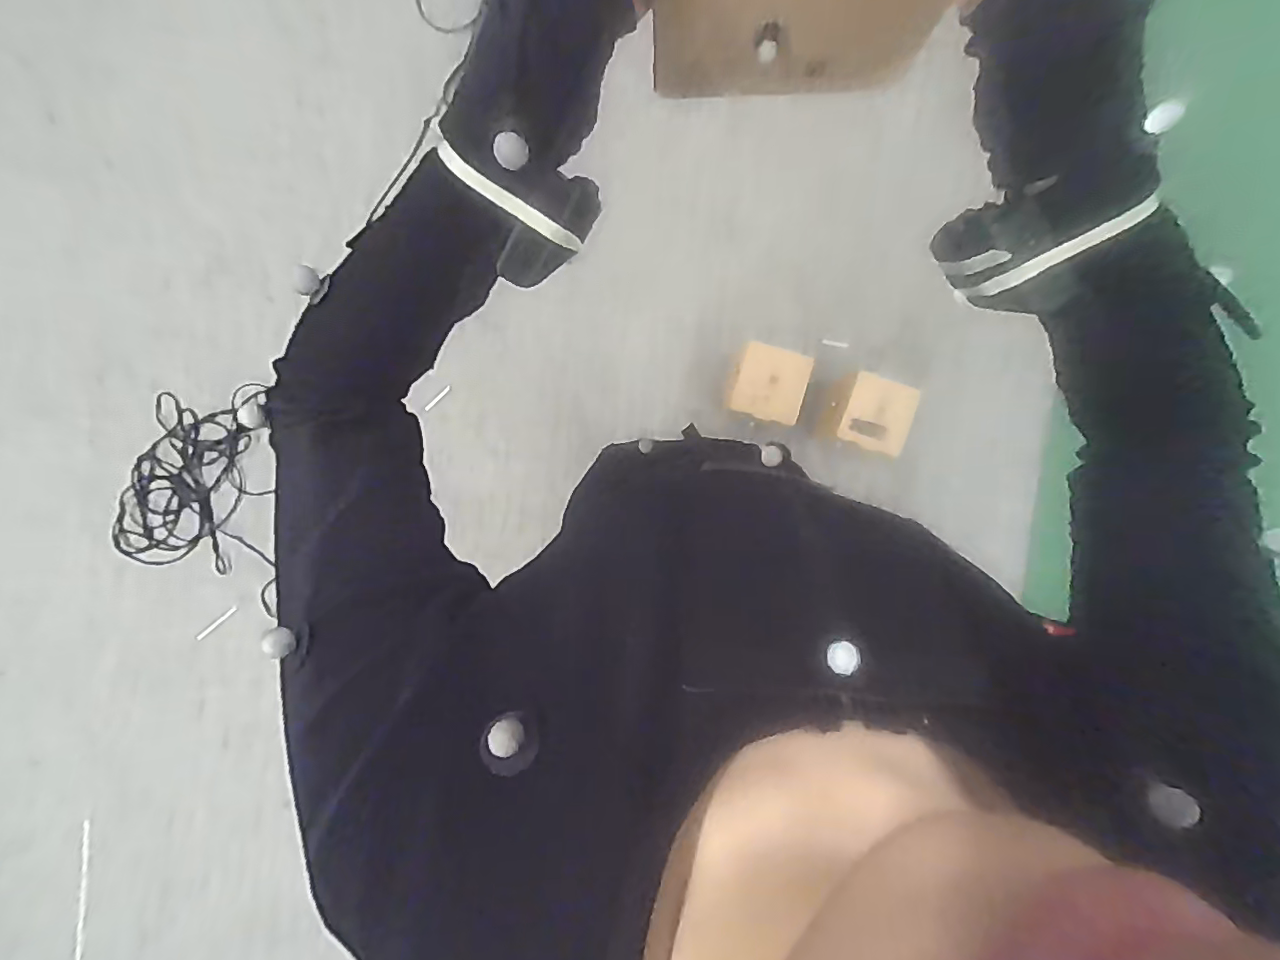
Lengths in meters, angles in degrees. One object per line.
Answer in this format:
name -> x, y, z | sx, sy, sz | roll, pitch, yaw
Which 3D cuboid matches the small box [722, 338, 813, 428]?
small box -> 0.316, -0.241, 1.377 | 0.168, 0.176, 0.179 | 16, 93, 0
